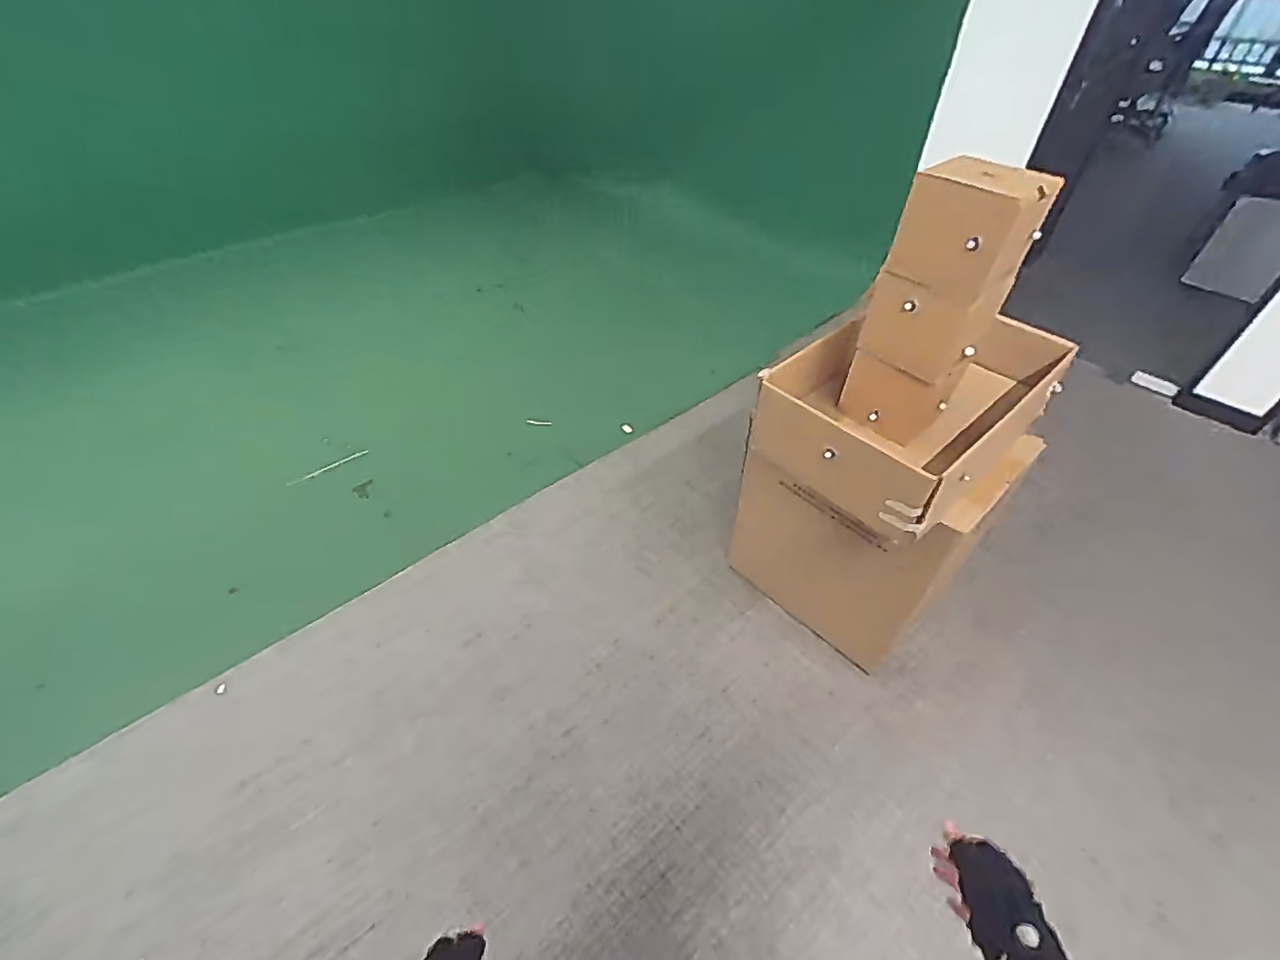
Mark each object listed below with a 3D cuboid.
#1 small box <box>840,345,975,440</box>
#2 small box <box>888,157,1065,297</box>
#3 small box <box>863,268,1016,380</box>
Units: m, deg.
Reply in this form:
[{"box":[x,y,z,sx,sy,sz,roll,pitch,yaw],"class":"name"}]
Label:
[{"box":[0.570,-0.208,1.171,0.168,0.176,0.179,-32,54,-29],"class":"small box"},{"box":[0.570,-0.435,0.935,0.168,0.176,0.179,-32,53,-29],"class":"small box"},{"box":[0.569,-0.321,1.051,0.168,0.176,0.179,-30,54,-27],"class":"small box"}]
